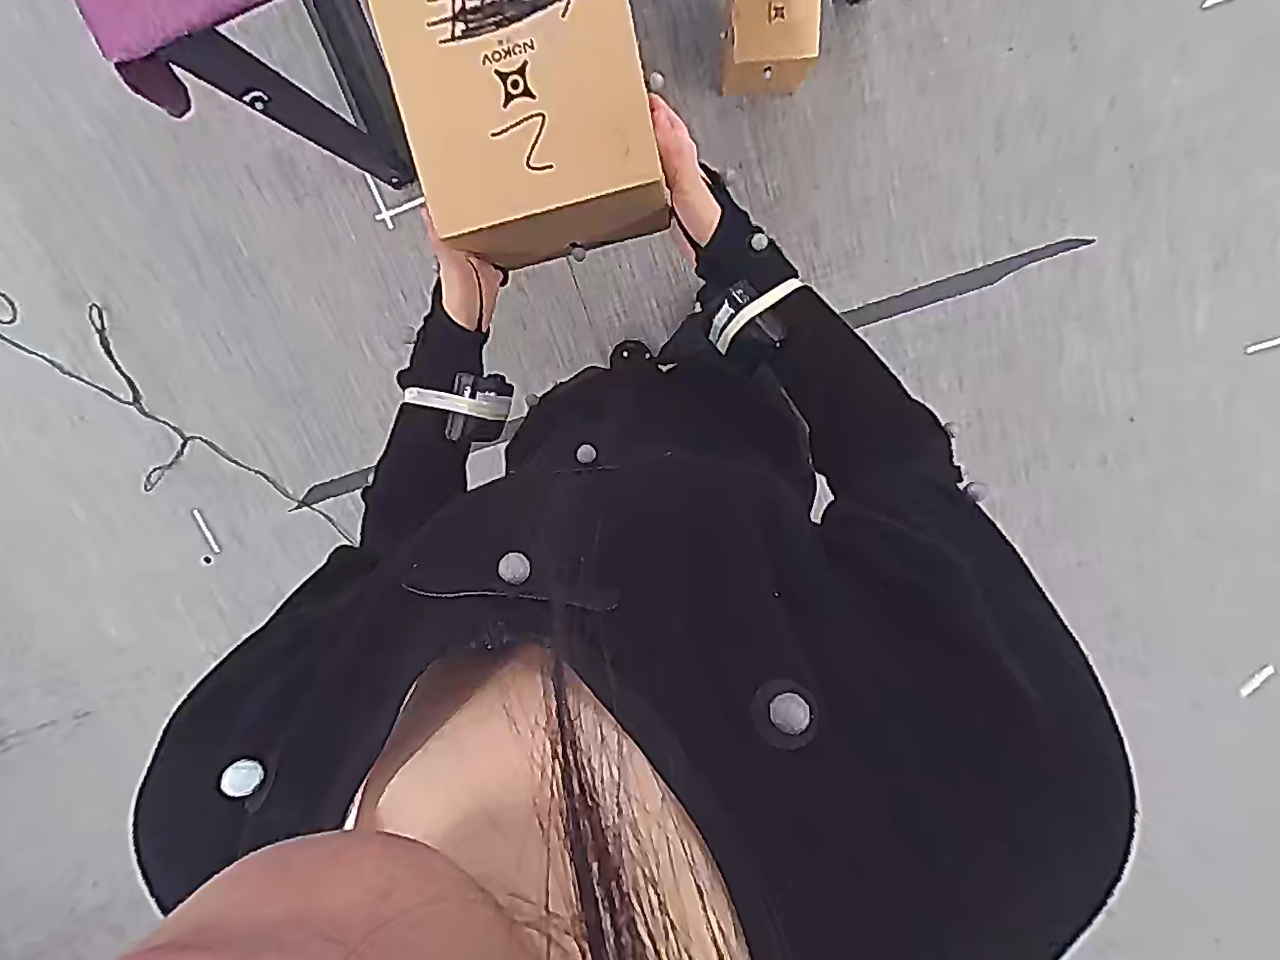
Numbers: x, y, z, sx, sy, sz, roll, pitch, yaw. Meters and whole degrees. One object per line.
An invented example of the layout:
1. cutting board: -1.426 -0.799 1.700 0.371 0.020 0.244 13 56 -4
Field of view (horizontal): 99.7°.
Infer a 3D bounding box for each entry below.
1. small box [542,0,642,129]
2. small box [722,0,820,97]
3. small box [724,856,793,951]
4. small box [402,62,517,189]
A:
1. small box: -0.095 -0.900 1.181 0.168 0.176 0.179 -16 103 5
2. small box: 0.274 -0.951 1.159 0.179 0.176 0.168 -1 106 3
3. small box: 0.390 1.404 1.797 0.168 0.176 0.179 -19 105 6
4. small box: -0.394 -0.780 1.217 0.168 0.176 0.179 -17 103 6
